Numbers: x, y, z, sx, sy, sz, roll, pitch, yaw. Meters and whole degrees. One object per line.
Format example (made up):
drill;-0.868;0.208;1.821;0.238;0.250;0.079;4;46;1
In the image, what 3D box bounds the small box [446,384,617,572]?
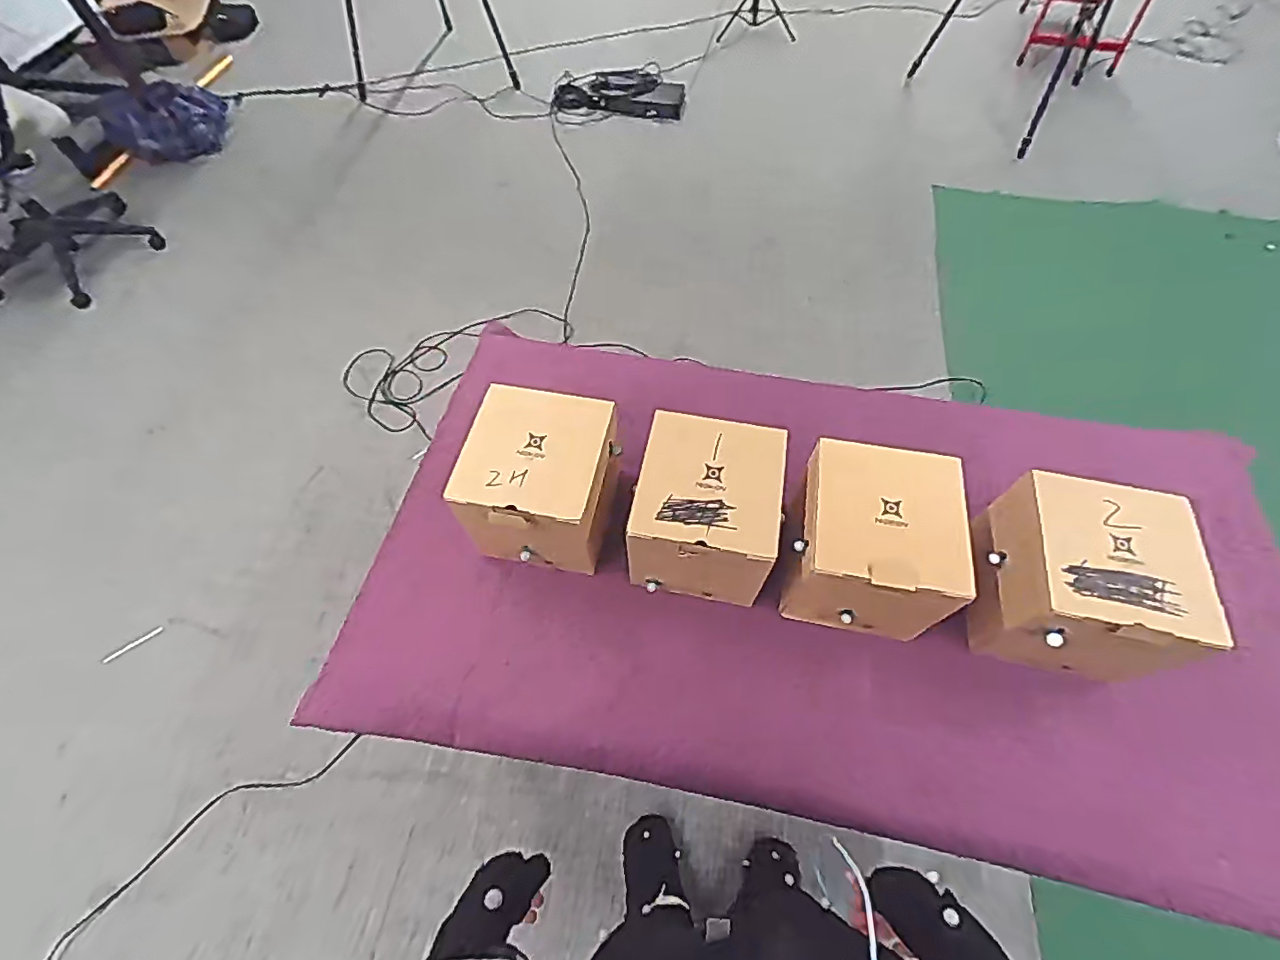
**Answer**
small box;-0.128;0.001;0.721;0.168;0.176;0.179;9;61;7
